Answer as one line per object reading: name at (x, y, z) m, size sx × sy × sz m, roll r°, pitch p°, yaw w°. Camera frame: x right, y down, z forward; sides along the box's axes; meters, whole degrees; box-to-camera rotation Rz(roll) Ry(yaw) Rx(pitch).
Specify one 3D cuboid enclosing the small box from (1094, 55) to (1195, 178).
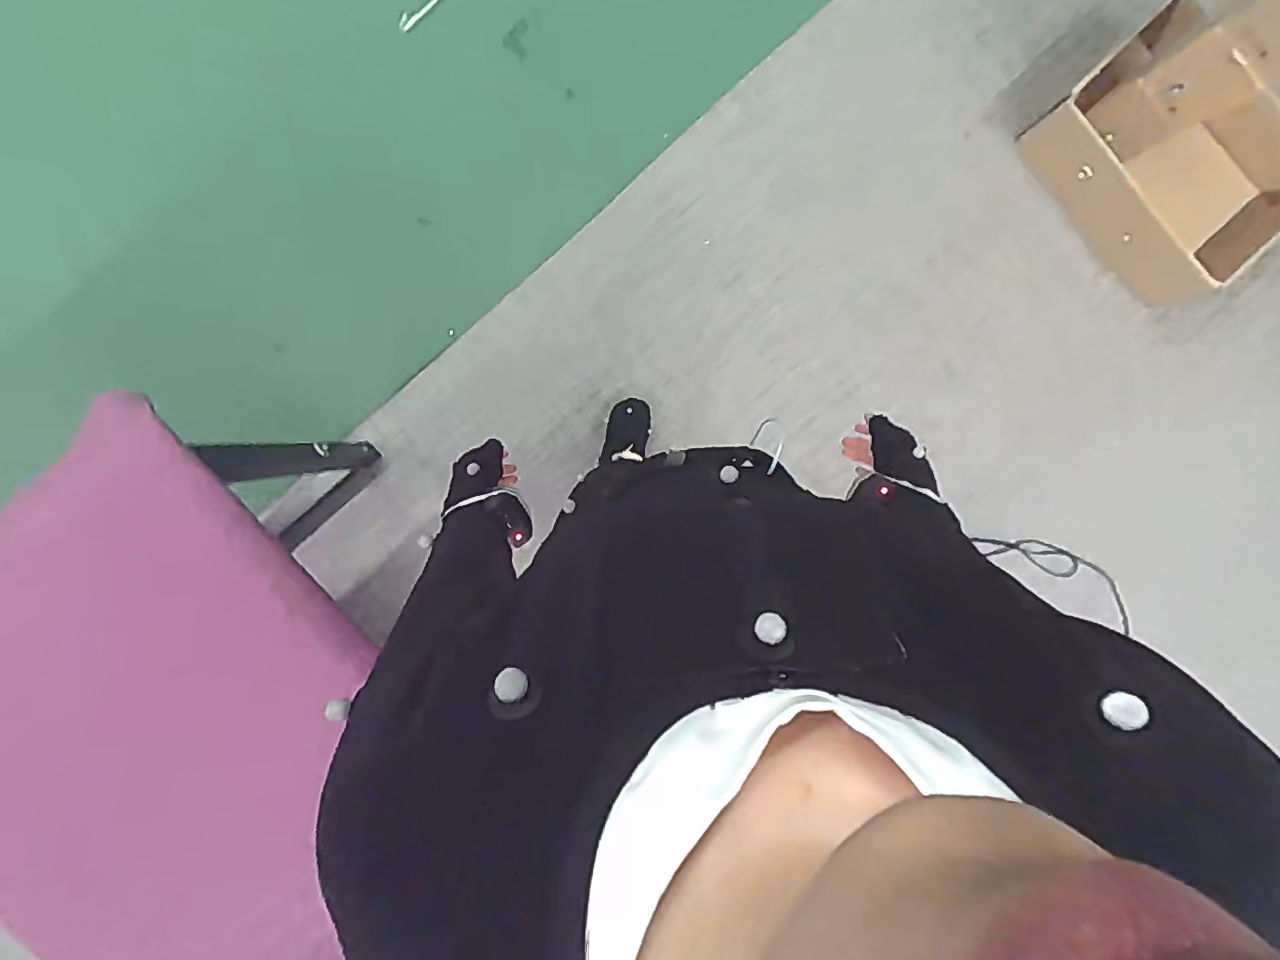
small box at (1.289, -0.894, 1.328) m, size 0.179 × 0.176 × 0.168 m, roll -39°, pitch 96°, yaw 0°

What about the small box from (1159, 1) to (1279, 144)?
small box at (1.302, -0.881, 1.167) m, size 0.179 × 0.176 × 0.168 m, roll -41°, pitch 97°, yaw 0°

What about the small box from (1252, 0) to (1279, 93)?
small box at (1.317, -0.873, 1.004) m, size 0.179 × 0.176 × 0.168 m, roll -42°, pitch 97°, yaw 0°
